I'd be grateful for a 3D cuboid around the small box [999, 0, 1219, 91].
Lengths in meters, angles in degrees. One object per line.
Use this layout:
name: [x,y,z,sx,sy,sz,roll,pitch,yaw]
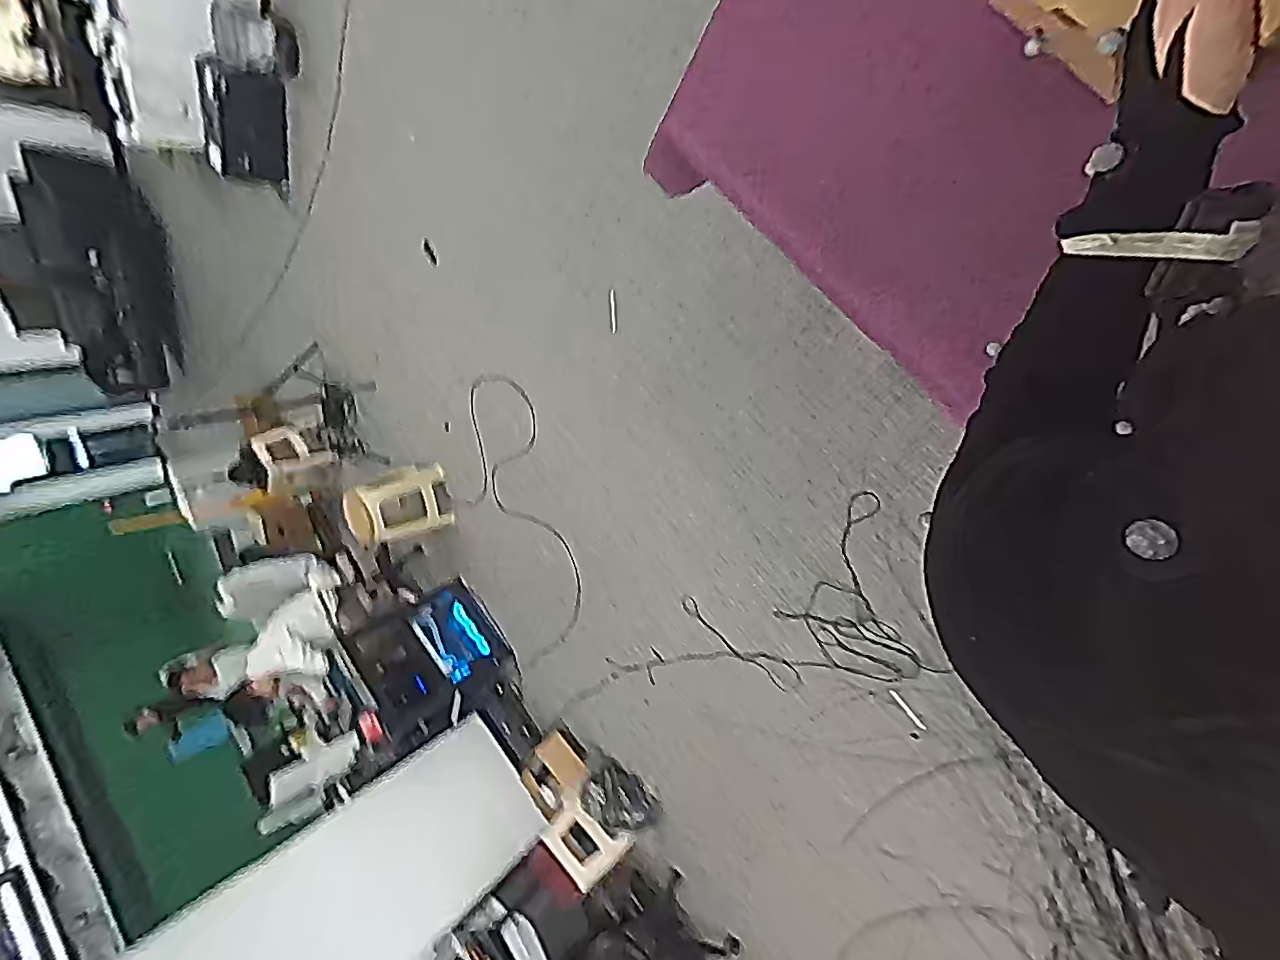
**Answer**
small box: [0.395,-0.451,0.416,0.168,0.176,0.179,53,134,12]
